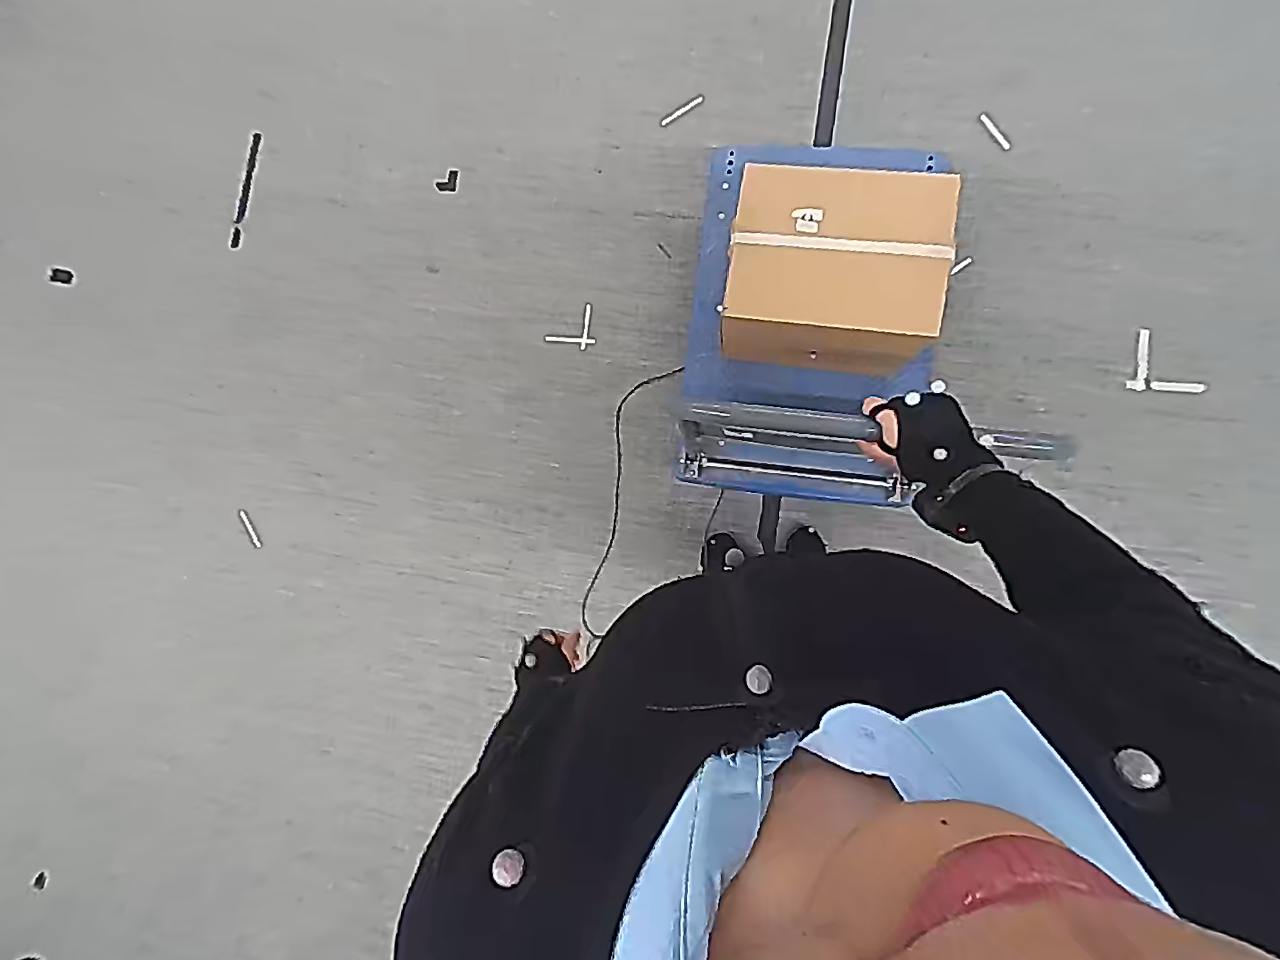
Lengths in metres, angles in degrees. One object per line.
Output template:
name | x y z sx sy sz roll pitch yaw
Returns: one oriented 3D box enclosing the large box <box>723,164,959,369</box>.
large box | 0.402 -0.439 1.168 0.408 0.320 0.320 8 87 11
